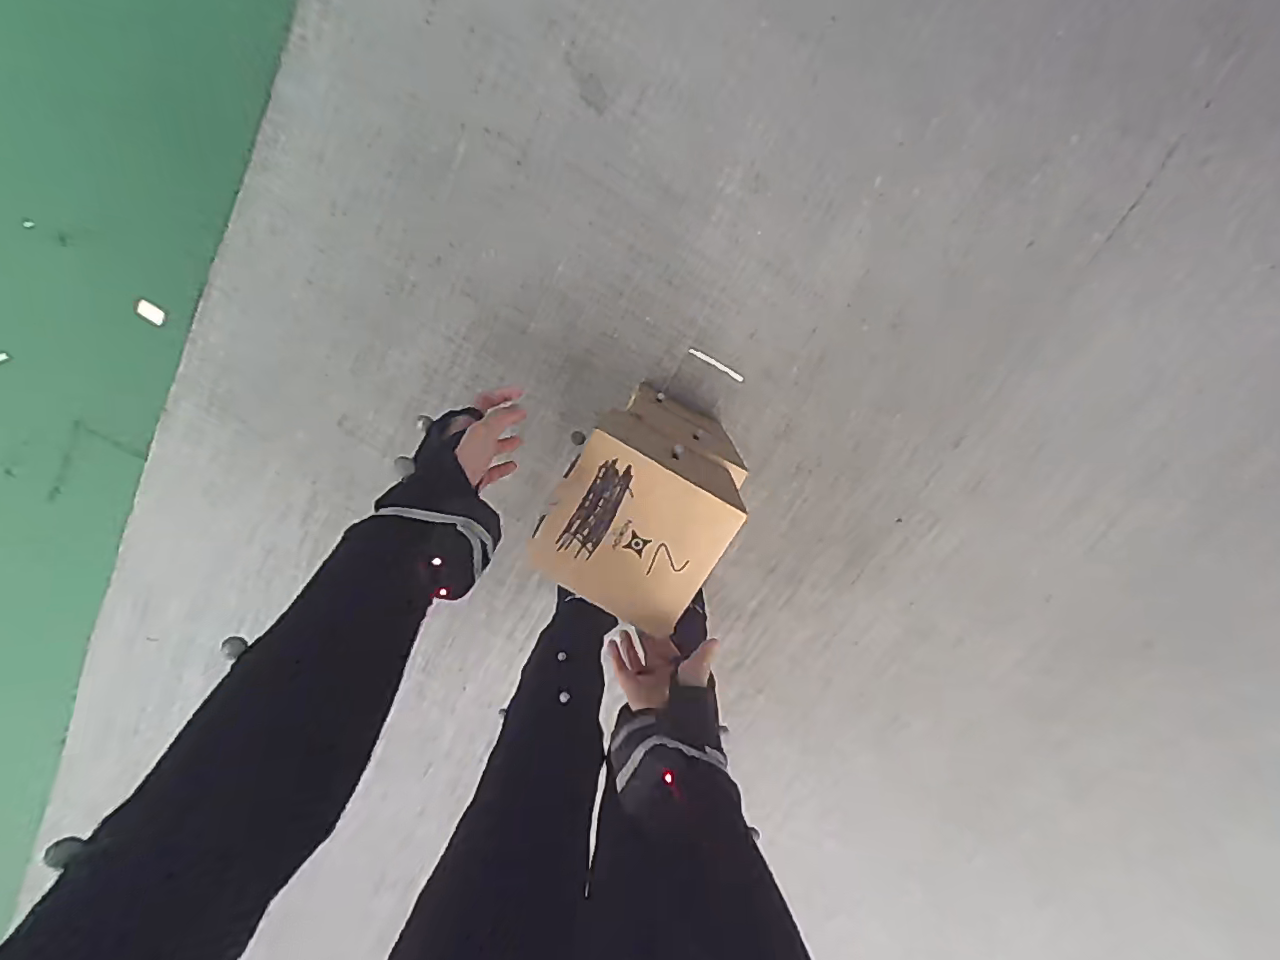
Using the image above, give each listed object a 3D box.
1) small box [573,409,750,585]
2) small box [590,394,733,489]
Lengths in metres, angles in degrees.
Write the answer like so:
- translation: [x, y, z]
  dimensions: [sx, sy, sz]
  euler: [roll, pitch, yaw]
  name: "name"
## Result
- translation: [0.031, 0.013, 0.767]
  dimensions: [0.179, 0.176, 0.168]
  euler: [28, 105, -4]
  name: "small box"
- translation: [0.038, -0.035, 0.925]
  dimensions: [0.179, 0.176, 0.168]
  euler: [27, 105, -3]
  name: "small box"
